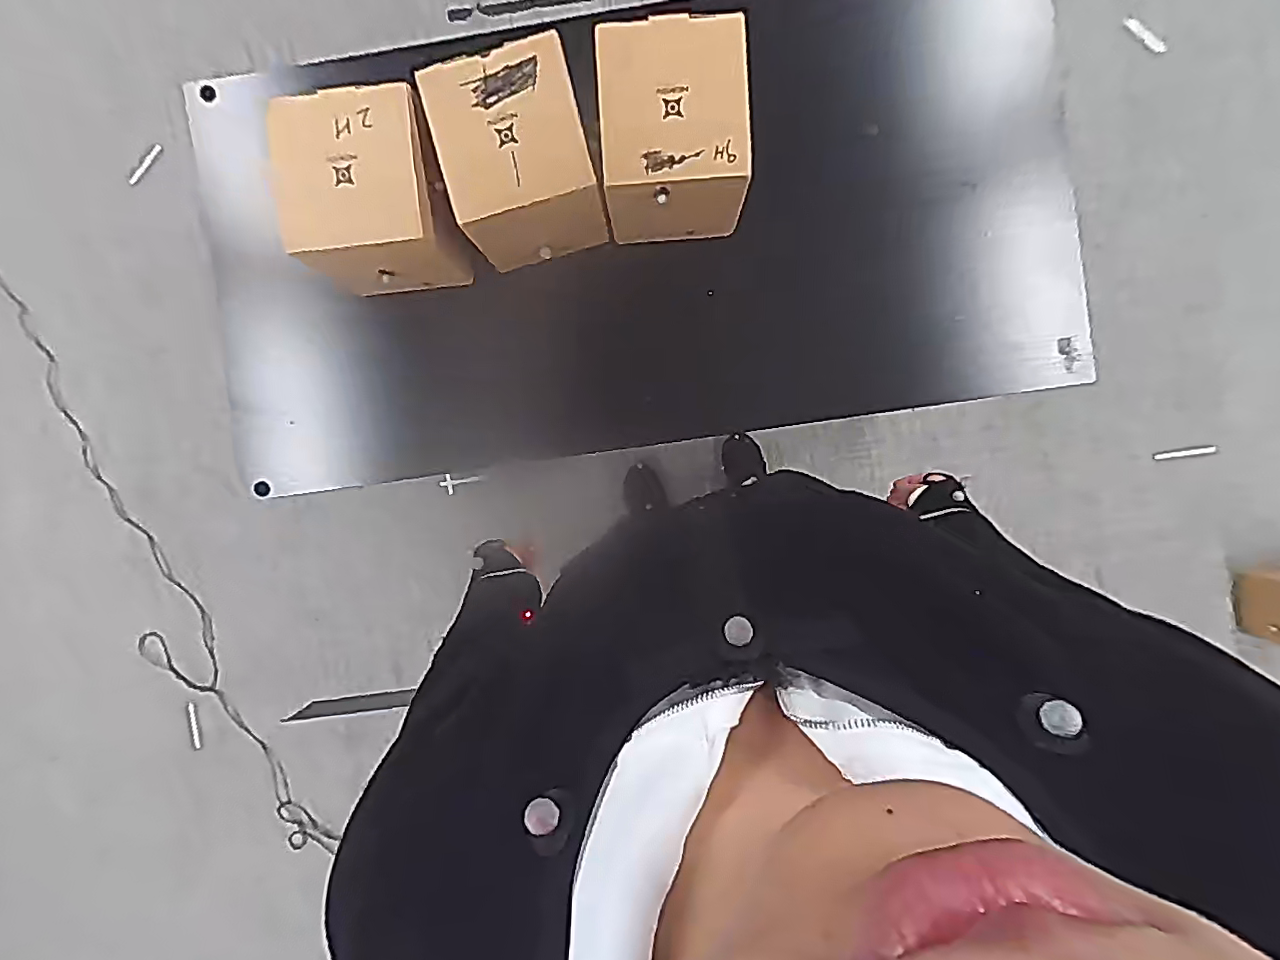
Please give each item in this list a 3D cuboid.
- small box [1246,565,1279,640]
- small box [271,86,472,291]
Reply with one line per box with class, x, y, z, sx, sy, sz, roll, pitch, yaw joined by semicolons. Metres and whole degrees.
small box;1.688;0.315;1.349;0.168;0.176;0.179;-9;91;3
small box;-0.327;-0.353;0.693;0.168;0.176;0.179;-6;92;2
